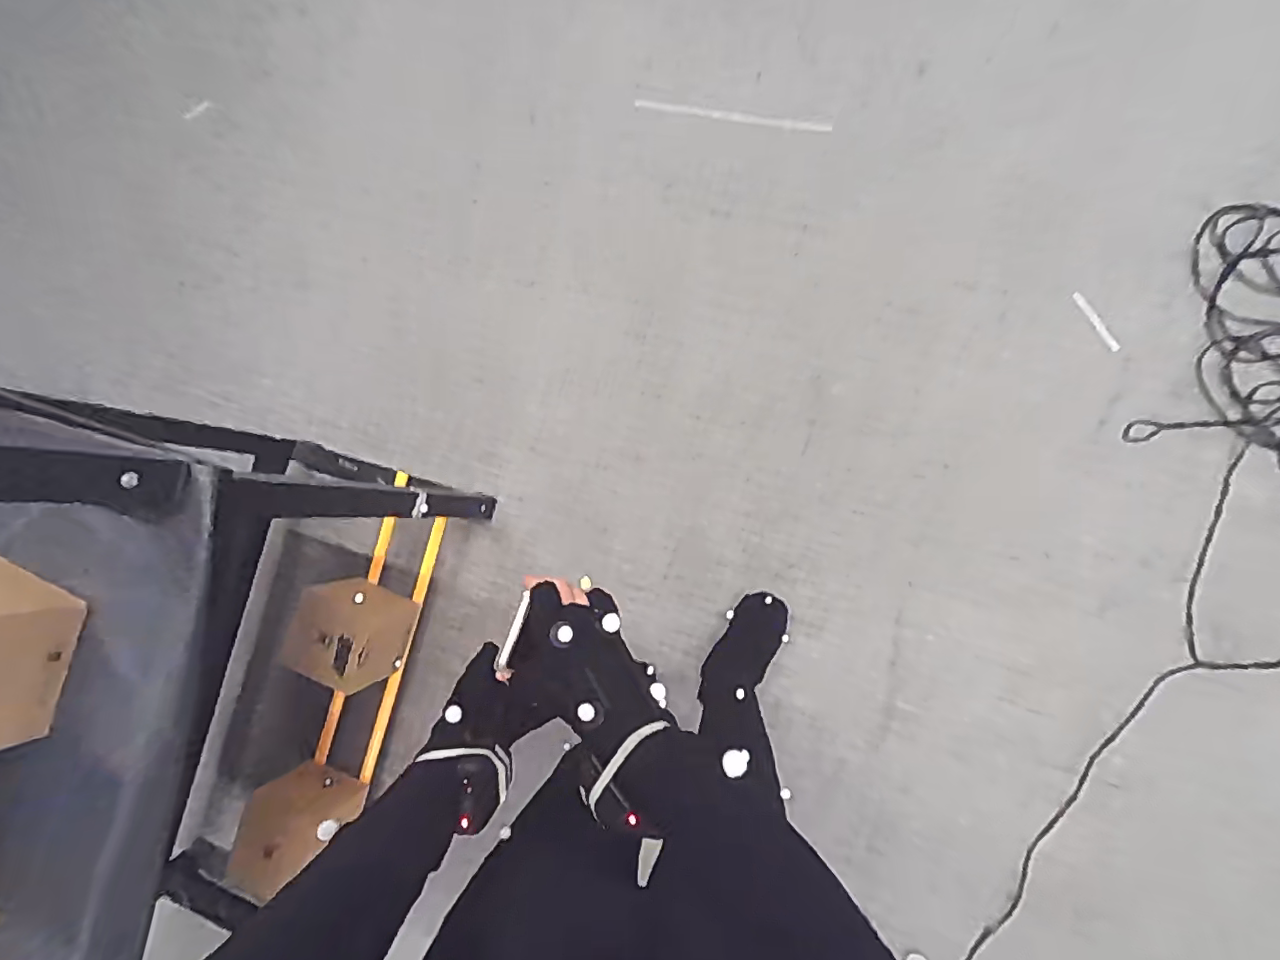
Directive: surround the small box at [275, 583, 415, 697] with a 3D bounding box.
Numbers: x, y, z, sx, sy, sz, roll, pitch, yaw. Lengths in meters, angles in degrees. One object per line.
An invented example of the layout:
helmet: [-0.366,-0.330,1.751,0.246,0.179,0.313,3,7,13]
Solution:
small box: [-0.618,0.330,1.154,0.179,0.176,0.168,20,89,11]
